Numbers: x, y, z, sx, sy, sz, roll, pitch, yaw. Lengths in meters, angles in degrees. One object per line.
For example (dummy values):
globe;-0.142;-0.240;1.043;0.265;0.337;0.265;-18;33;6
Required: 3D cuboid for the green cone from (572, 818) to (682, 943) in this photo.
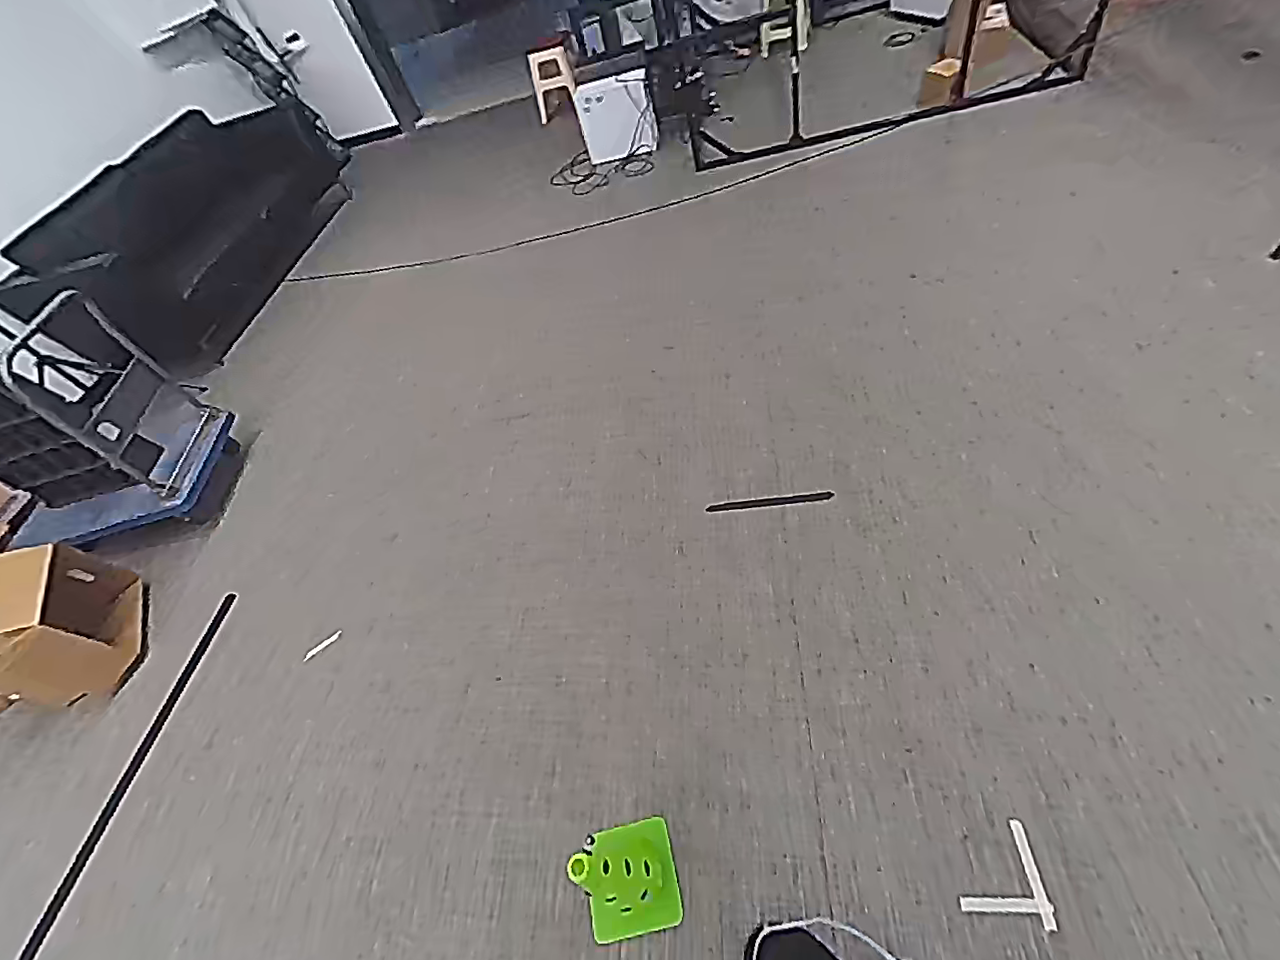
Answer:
green cone;-0.061;0.776;1.062;0.202;0.368;0.200;-18;50;3
